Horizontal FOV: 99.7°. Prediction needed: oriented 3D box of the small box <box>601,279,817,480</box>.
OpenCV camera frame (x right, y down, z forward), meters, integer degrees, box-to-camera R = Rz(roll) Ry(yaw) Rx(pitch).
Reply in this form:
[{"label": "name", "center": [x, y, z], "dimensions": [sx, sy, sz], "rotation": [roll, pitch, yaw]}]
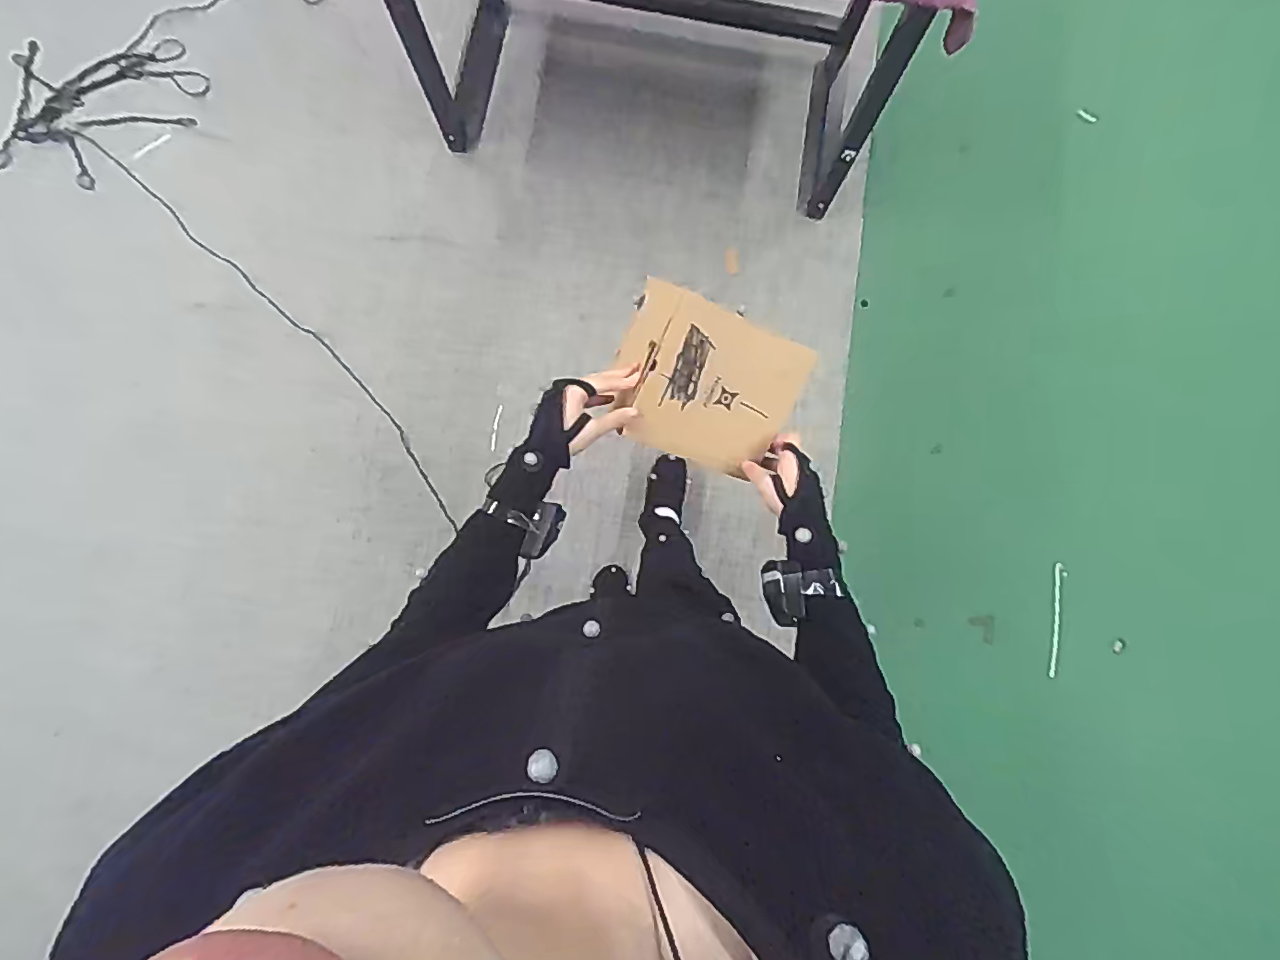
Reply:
[{"label": "small box", "center": [0.066, -0.127, 0.646], "dimensions": [0.179, 0.176, 0.168], "rotation": [19, 109, -20]}]
